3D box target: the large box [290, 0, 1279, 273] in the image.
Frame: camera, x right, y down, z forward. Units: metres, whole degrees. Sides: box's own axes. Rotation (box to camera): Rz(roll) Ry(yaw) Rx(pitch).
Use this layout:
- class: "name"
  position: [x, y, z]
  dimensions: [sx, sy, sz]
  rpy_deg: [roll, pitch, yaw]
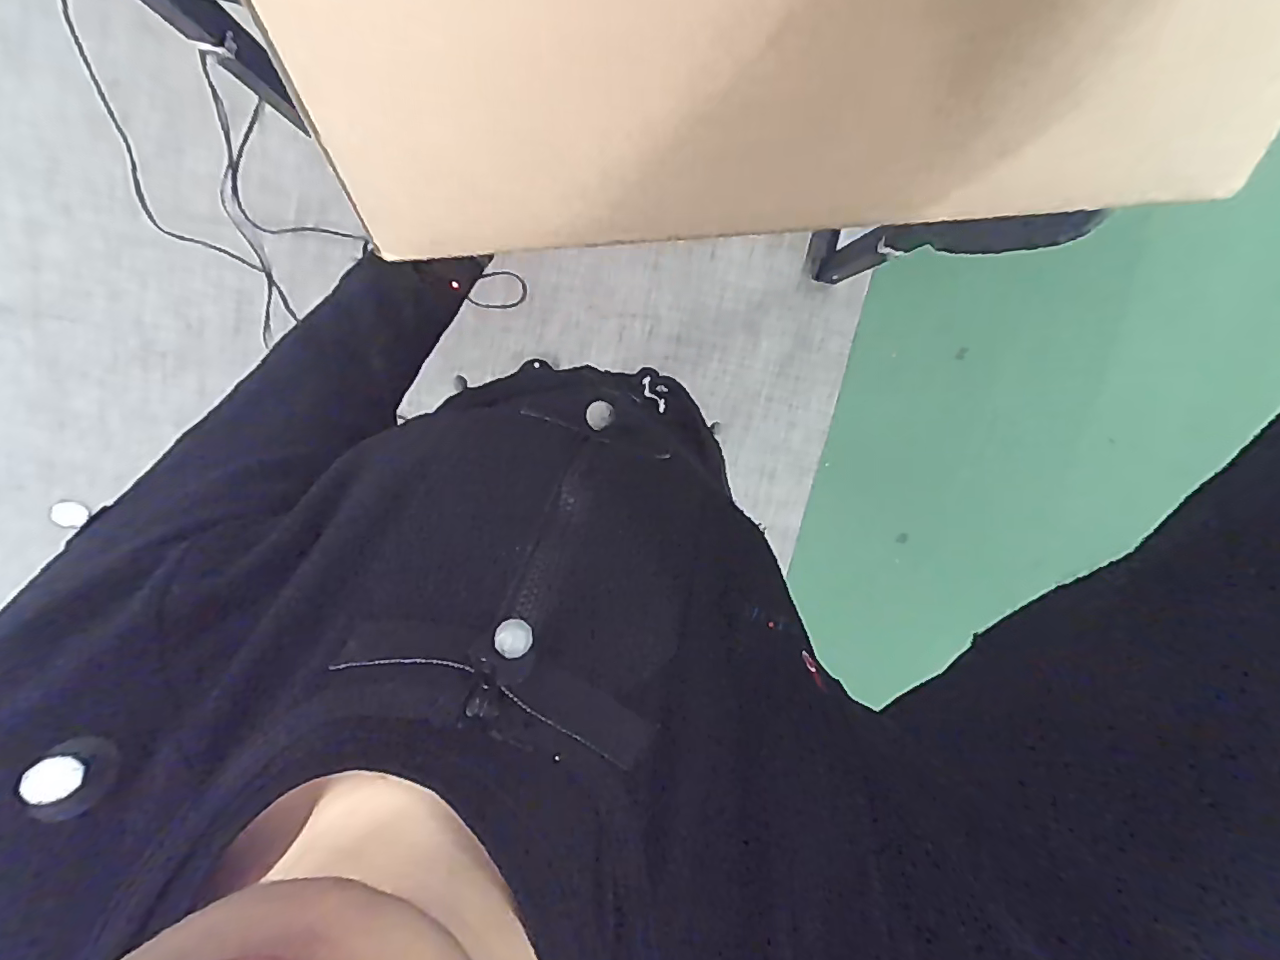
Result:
- class: "large box"
  position: [0.058, -0.335, 0.265]
  dimensions: [0.408, 0.320, 0.320]
  rpy_deg: [-1, 138, 12]
